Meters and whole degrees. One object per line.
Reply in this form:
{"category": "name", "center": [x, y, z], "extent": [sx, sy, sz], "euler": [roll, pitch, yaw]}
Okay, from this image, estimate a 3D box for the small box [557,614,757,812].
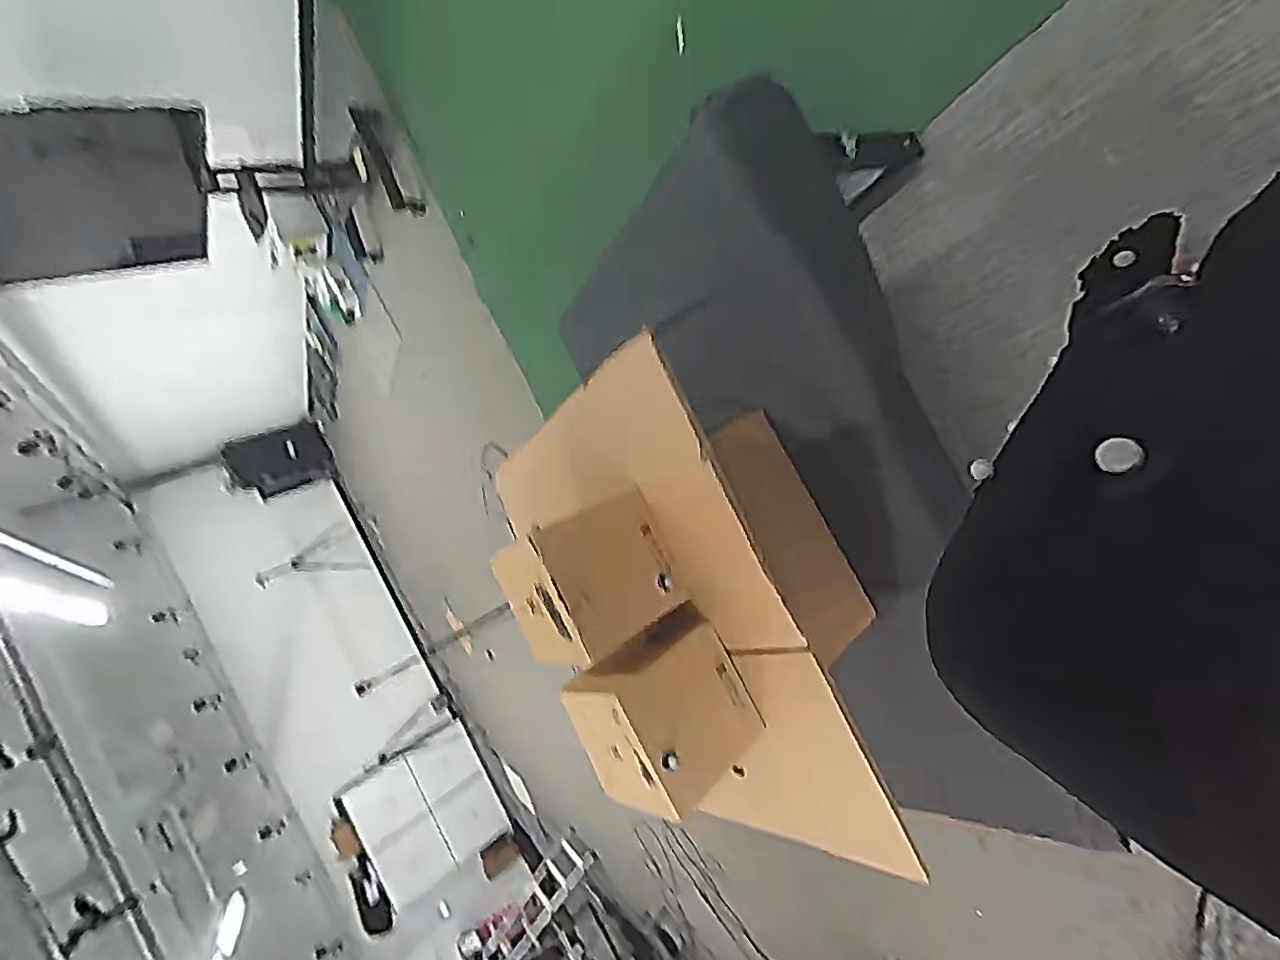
{"category": "small box", "center": [0.022, 0.297, 0.726], "extent": [0.179, 0.176, 0.168], "euler": [-29, 89, 55]}
